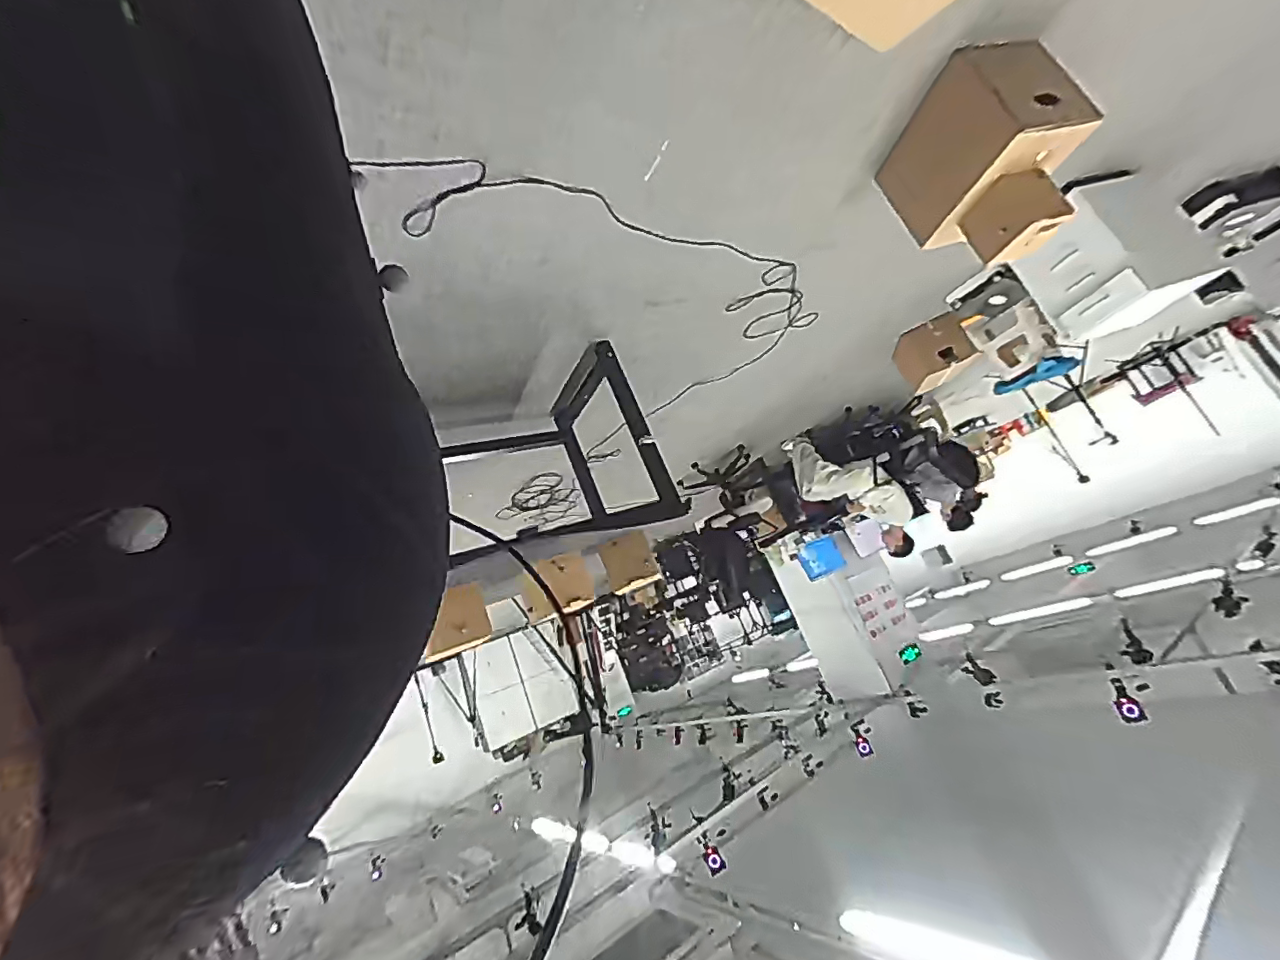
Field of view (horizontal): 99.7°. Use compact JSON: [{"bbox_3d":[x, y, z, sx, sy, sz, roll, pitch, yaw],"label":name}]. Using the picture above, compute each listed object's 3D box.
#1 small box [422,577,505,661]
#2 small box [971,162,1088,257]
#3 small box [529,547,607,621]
[{"bbox_3d":[-0.513,0.397,1.555,0.179,0.176,0.168,-14,164,-33],"label":"small box"},{"bbox_3d":[1.088,-0.768,1.527,0.168,0.176,0.179,-17,164,-15],"label":"small box"},{"bbox_3d":[-0.237,0.330,1.724,0.168,0.176,0.179,-12,162,-36],"label":"small box"}]
